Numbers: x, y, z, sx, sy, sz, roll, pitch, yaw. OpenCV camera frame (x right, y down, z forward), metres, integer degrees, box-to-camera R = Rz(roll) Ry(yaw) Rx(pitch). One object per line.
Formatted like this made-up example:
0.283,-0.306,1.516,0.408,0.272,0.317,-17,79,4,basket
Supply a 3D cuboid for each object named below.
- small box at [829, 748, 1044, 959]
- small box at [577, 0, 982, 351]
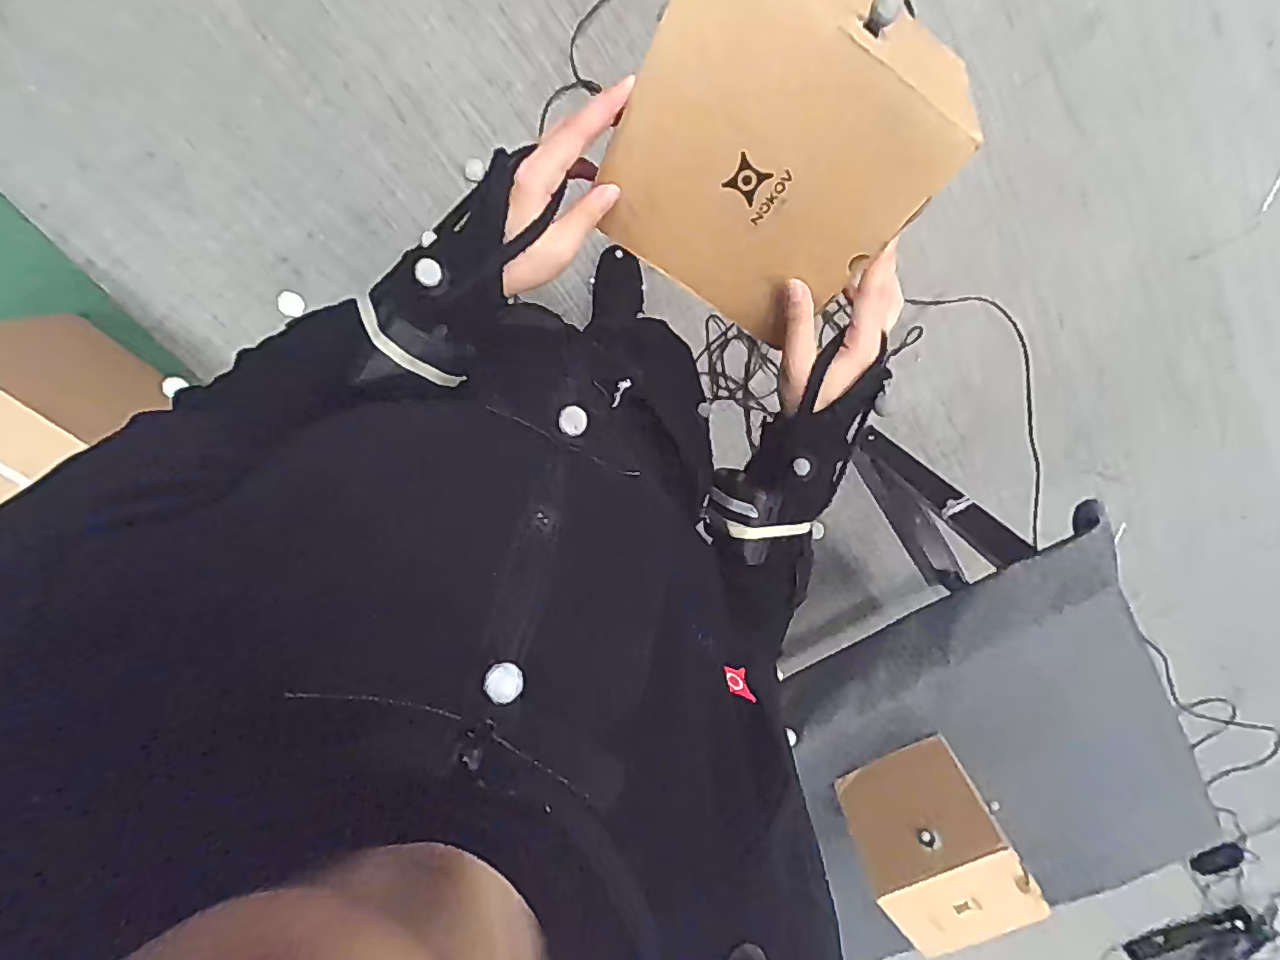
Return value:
0.395,0.511,0.746,0.179,0.176,0.168,-32,109,13,small box
0.088,-0.231,0.369,0.179,0.176,0.168,30,140,-11,small box
